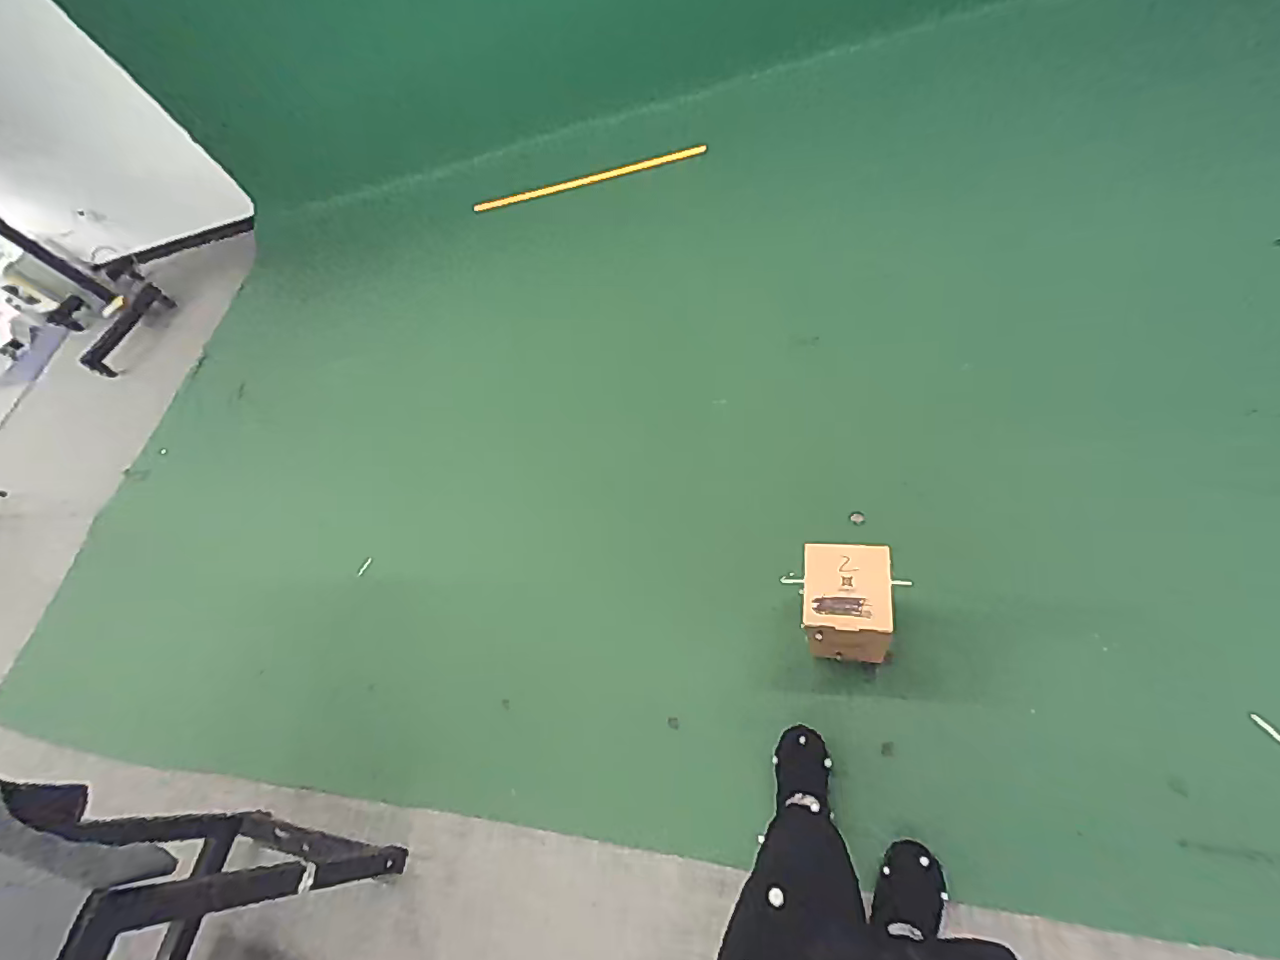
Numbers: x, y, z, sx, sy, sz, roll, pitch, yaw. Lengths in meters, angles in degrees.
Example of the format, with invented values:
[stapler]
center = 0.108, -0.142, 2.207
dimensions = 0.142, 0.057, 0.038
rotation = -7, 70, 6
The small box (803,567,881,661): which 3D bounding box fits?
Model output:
[small box]
center = 0.480, 0.322, 1.292
dimensions = 0.168, 0.176, 0.179
rotation = 0, 64, 20
